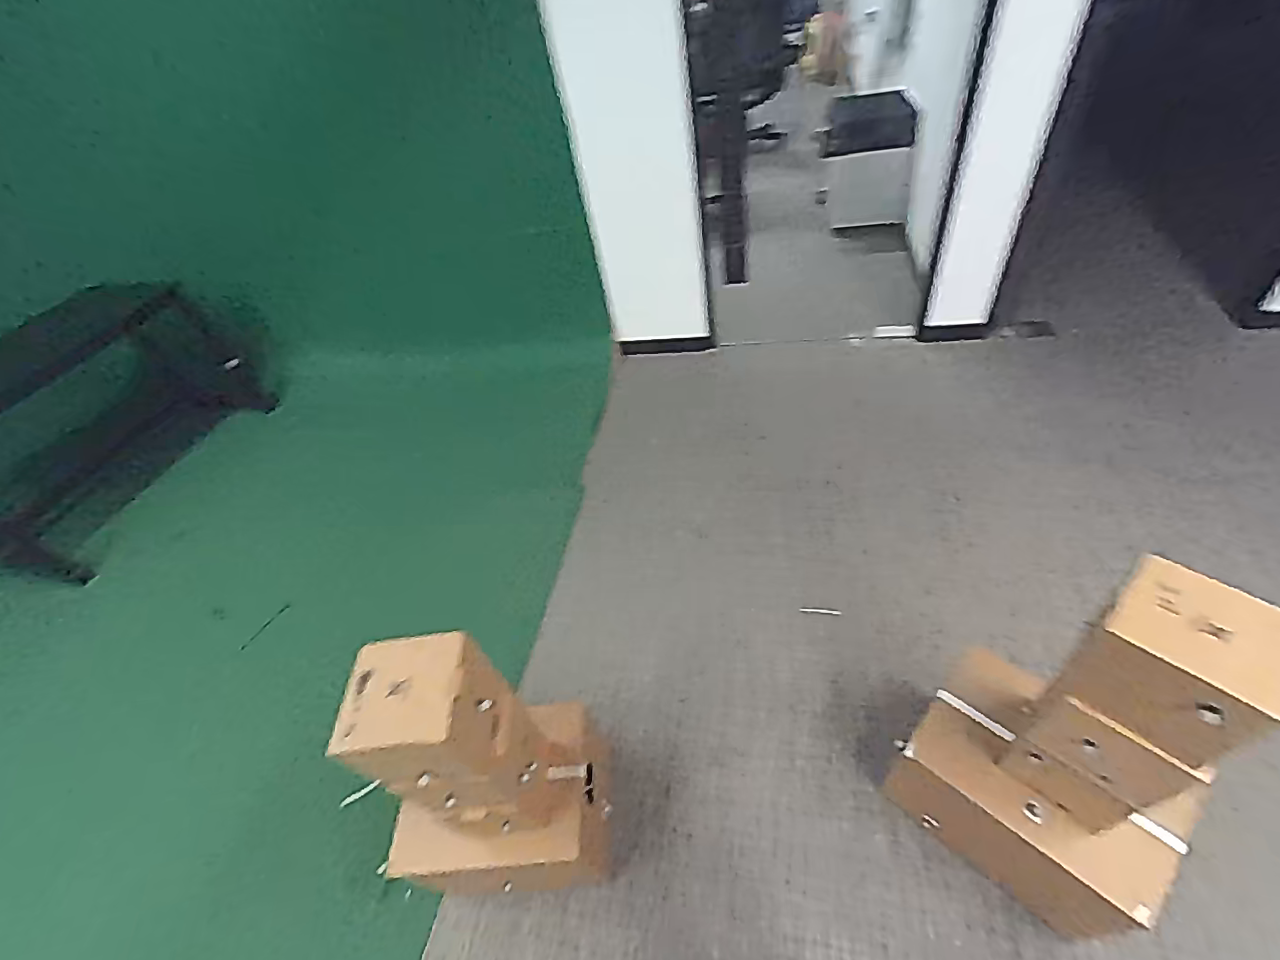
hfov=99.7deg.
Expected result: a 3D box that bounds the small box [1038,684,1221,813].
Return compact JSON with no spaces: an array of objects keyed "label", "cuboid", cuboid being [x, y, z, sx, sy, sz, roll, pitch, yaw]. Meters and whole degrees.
[{"label":"small box","cuboid":[0.752,0.367,0.830,0.179,0.176,0.168,-38,49,-25]}]

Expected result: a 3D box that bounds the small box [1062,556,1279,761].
[{"label":"small box","cuboid":[0.723,0.243,0.725,0.168,0.176,0.179,-36,48,-24]}]

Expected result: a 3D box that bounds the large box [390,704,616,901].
[{"label":"large box","cuboid":[-0.285,0.762,1.269,0.408,0.320,0.320,-10,43,6]}]

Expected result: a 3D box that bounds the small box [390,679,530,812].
[{"label":"small box","cuboid":[-0.308,0.480,0.972,0.179,0.176,0.168,-9,45,5]}]

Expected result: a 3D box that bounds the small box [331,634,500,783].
[{"label":"small box","cuboid":[-0.338,0.365,0.859,0.179,0.176,0.168,-7,45,4]}]

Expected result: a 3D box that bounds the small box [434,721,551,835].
[{"label":"small box","cuboid":[-0.284,0.596,1.085,0.168,0.176,0.179,-8,45,5]}]
